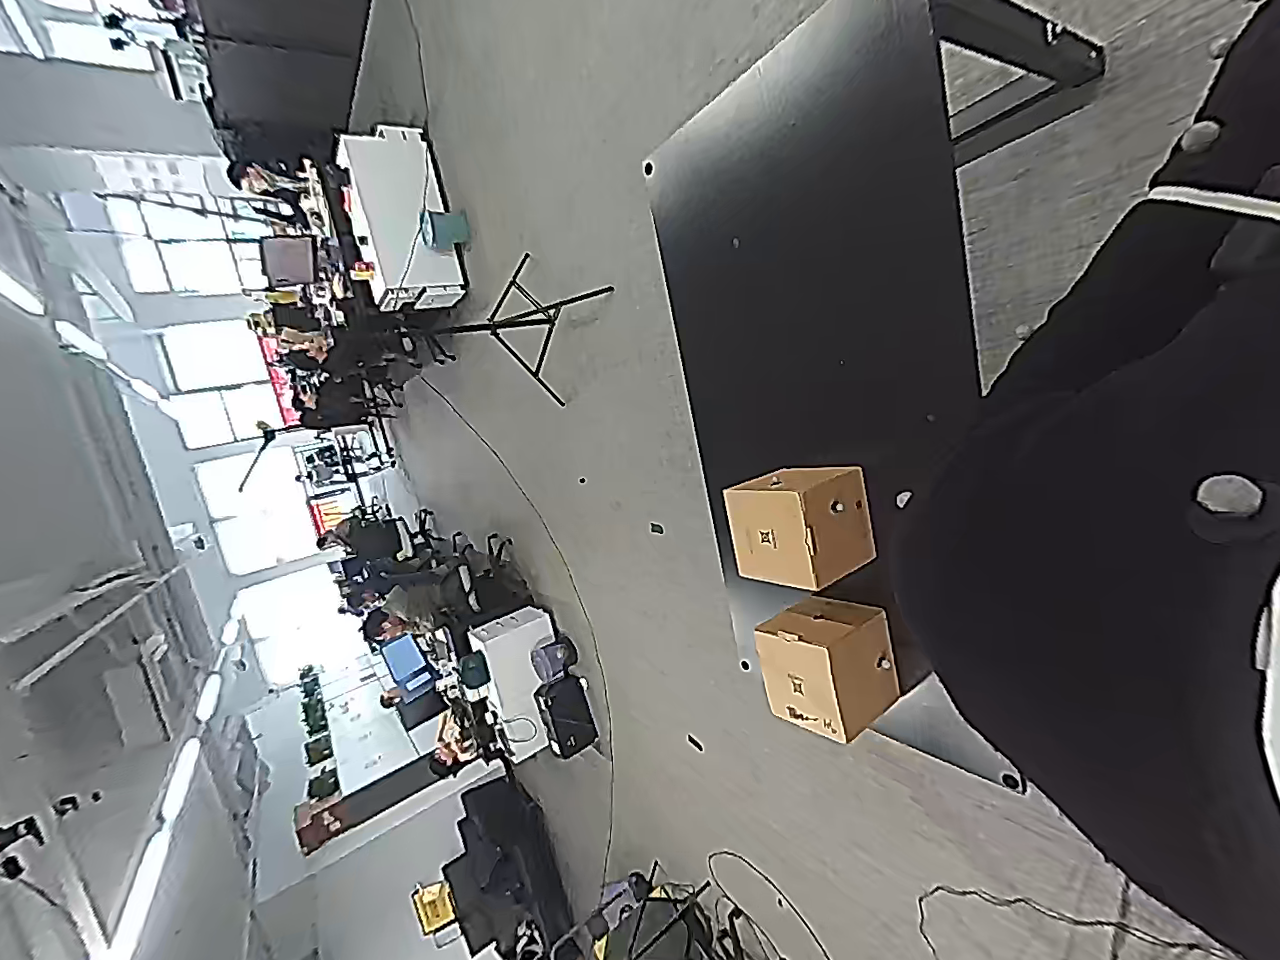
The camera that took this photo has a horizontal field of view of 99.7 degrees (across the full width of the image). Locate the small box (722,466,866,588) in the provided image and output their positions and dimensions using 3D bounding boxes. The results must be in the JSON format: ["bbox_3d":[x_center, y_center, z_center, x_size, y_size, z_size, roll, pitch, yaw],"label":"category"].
[{"bbox_3d":[0.275,0.073,0.951,0.179,0.176,0.168,-1,103,57],"label":"small box"}]

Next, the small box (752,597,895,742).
[{"bbox_3d":[0.333,0.327,0.980,0.168,0.176,0.179,-3,101,57],"label":"small box"}]
